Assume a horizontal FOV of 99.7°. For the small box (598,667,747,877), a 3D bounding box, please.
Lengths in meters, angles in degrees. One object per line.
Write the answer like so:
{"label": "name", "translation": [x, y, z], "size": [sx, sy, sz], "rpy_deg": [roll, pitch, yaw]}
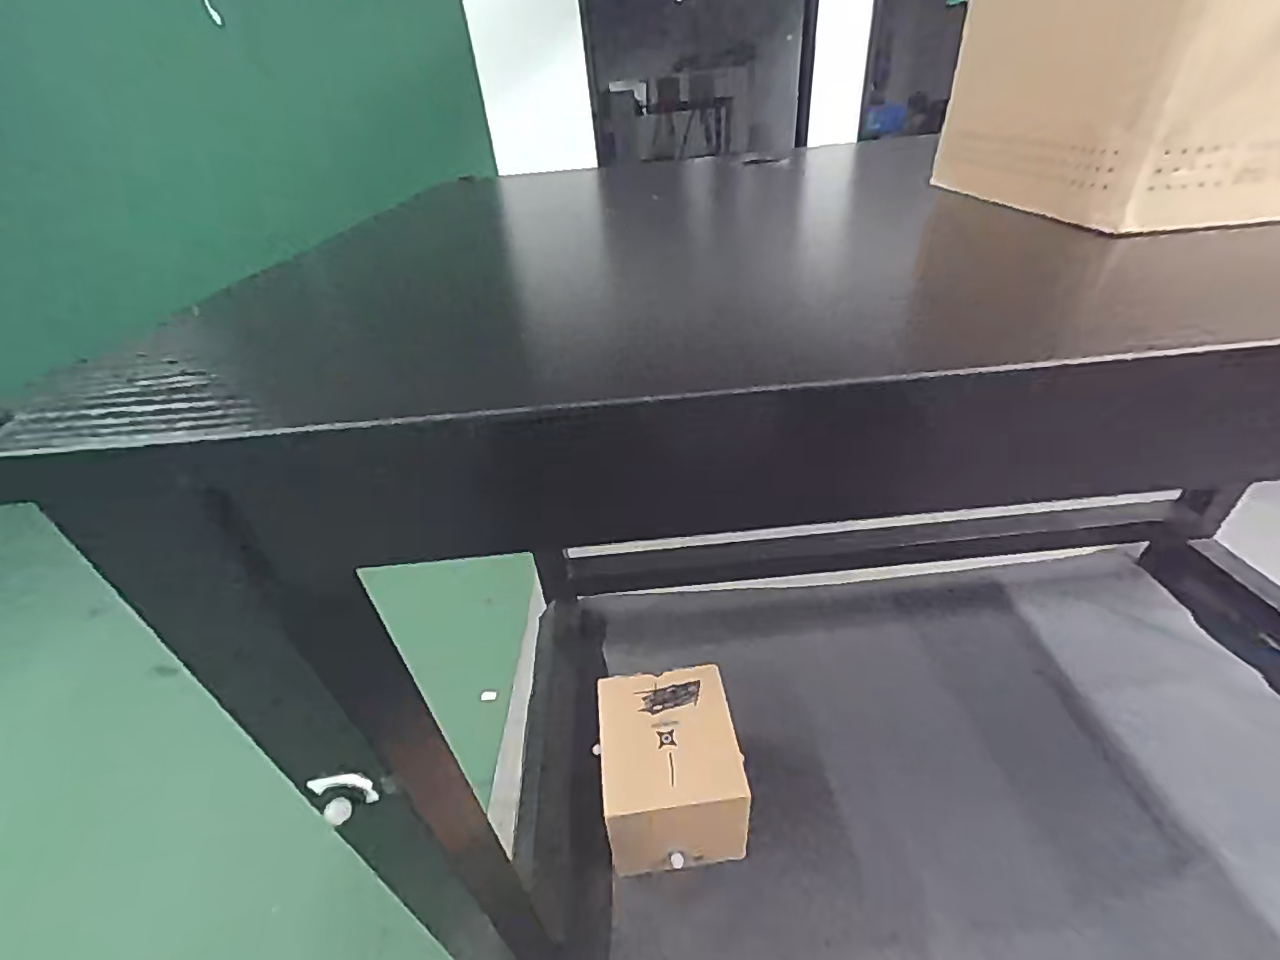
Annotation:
{"label": "small box", "translation": [0.036, 0.376, 0.704], "size": [0.168, 0.176, 0.179], "rpy_deg": [-7, 35, -2]}
